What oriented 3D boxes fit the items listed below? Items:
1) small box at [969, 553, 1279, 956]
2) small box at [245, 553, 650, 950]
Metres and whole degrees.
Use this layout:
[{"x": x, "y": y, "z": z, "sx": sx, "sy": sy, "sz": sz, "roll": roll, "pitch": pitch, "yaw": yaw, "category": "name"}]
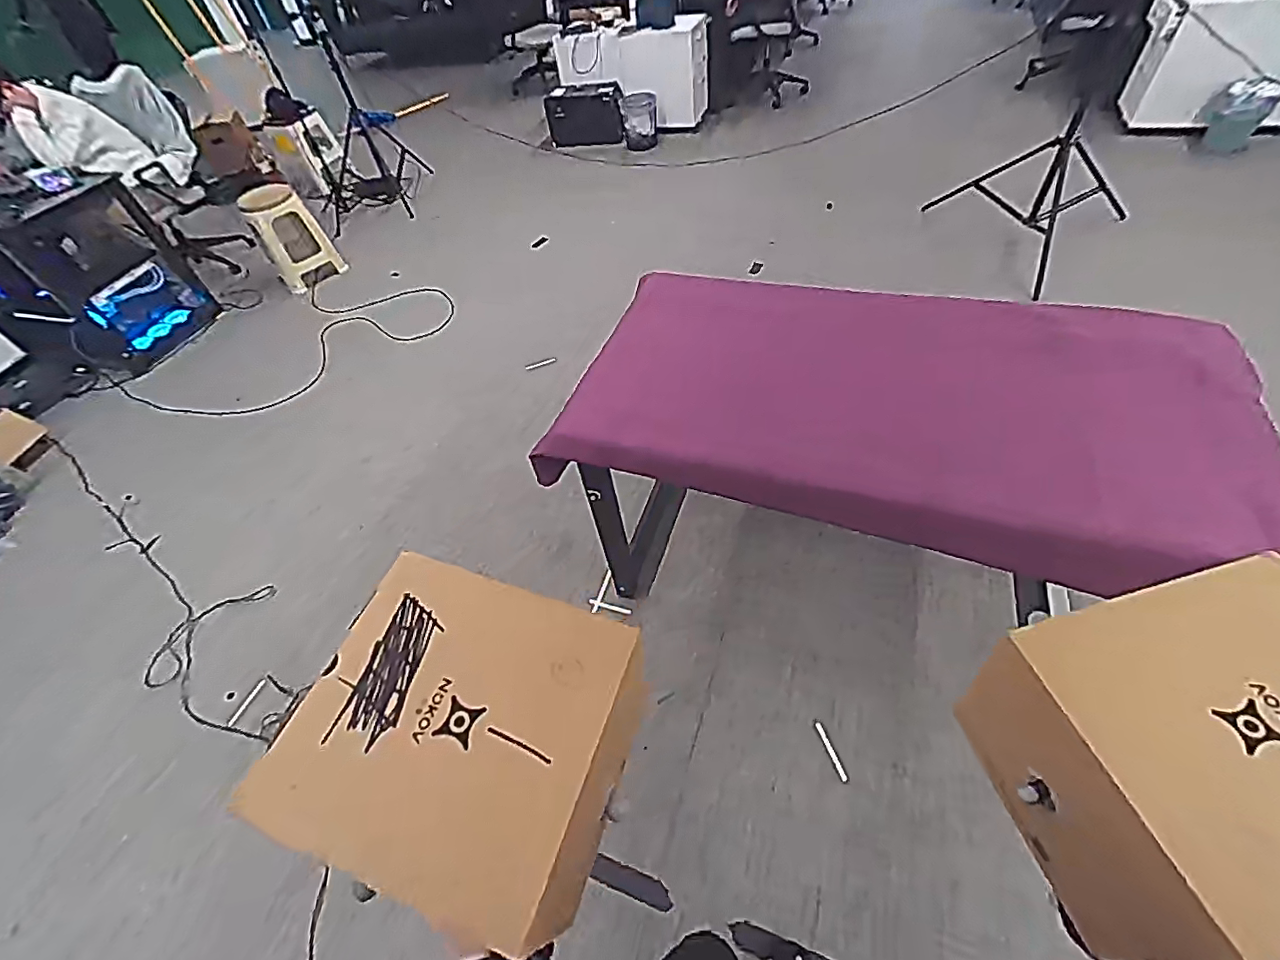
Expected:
[{"x": 0.346, "y": 0.179, "z": 0.348, "sx": 0.179, "sy": 0.176, "sz": 0.168, "roll": -17, "pitch": 49, "yaw": 1, "category": "small box"}, {"x": -0.100, "y": 0.179, "z": 0.373, "sx": 0.179, "sy": 0.176, "sz": 0.168, "roll": 16, "pitch": 57, "yaw": 13, "category": "small box"}]
